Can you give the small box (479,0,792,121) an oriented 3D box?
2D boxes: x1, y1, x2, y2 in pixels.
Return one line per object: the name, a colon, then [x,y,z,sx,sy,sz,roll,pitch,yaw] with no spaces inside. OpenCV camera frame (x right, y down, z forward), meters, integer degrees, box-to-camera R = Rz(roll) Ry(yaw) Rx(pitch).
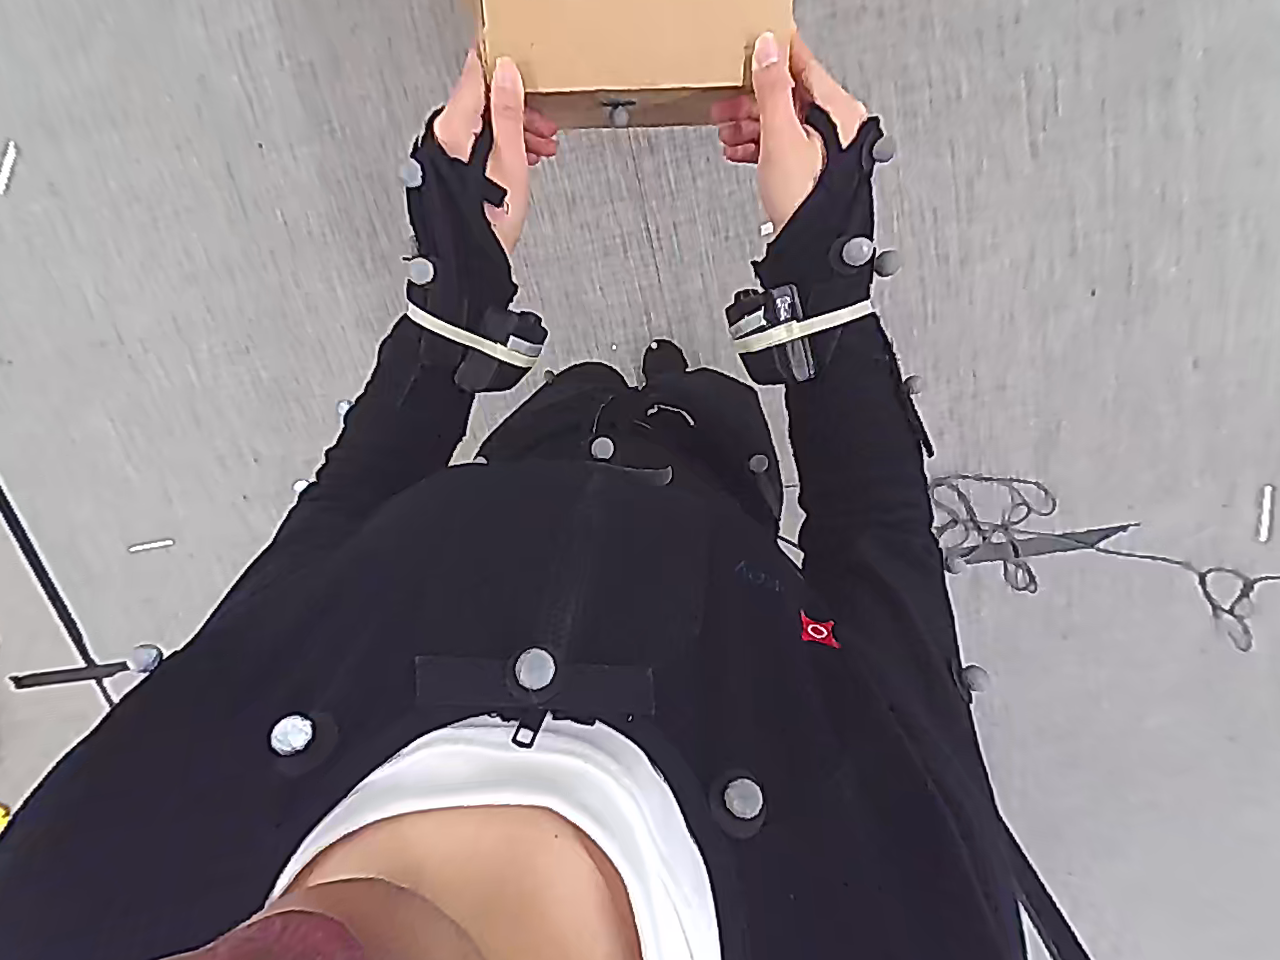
small box: [-0.002,-0.342,0.349,0.179,0.176,0.168,-1,117,1]
